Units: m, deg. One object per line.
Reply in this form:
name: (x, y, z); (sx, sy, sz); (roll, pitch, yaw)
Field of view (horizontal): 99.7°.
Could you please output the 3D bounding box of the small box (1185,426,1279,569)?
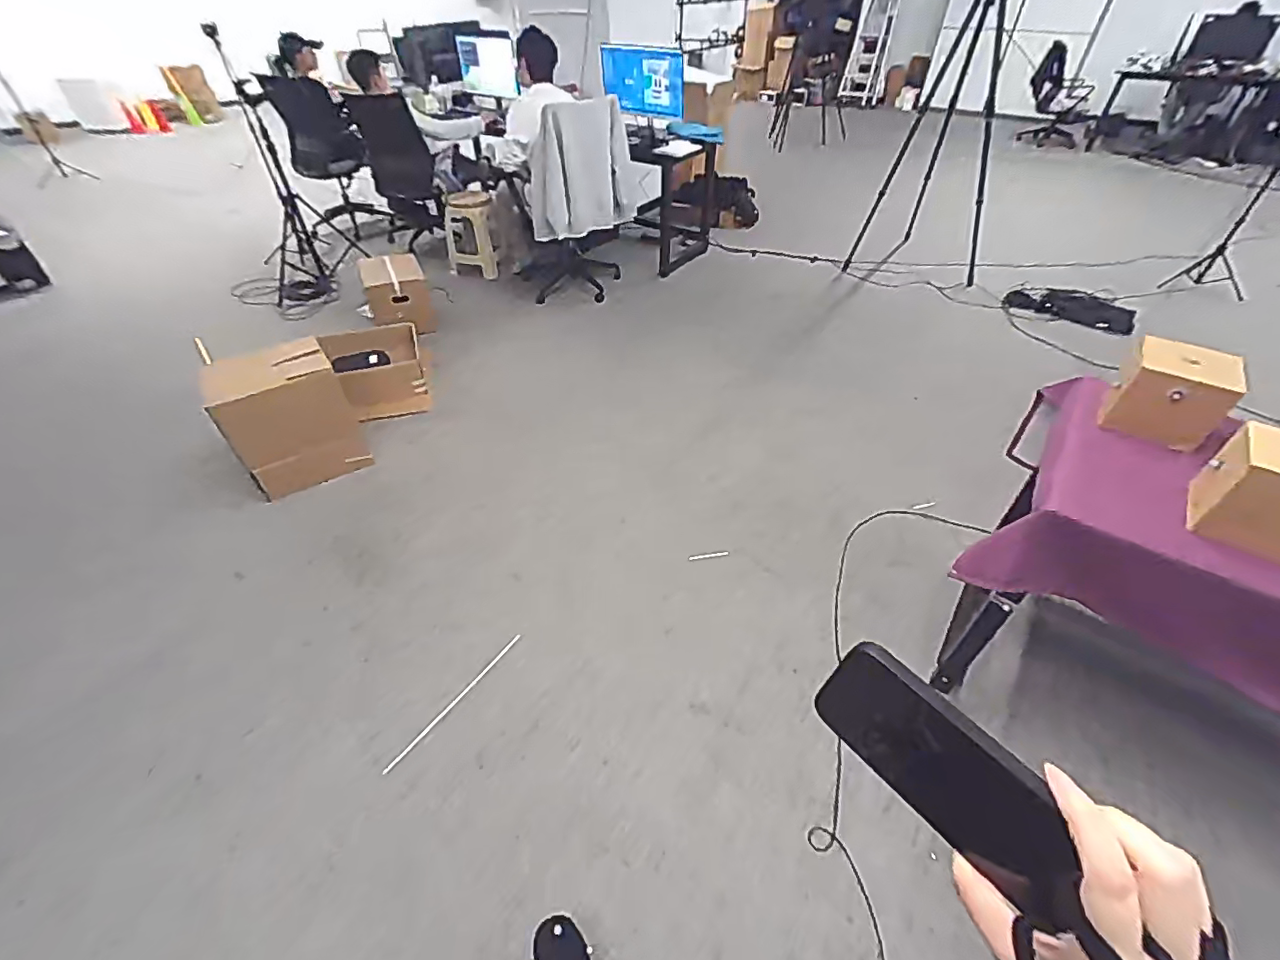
small box: (1.146, 0.035, 0.977); (0.179, 0.176, 0.168); (29, 50, 27)
